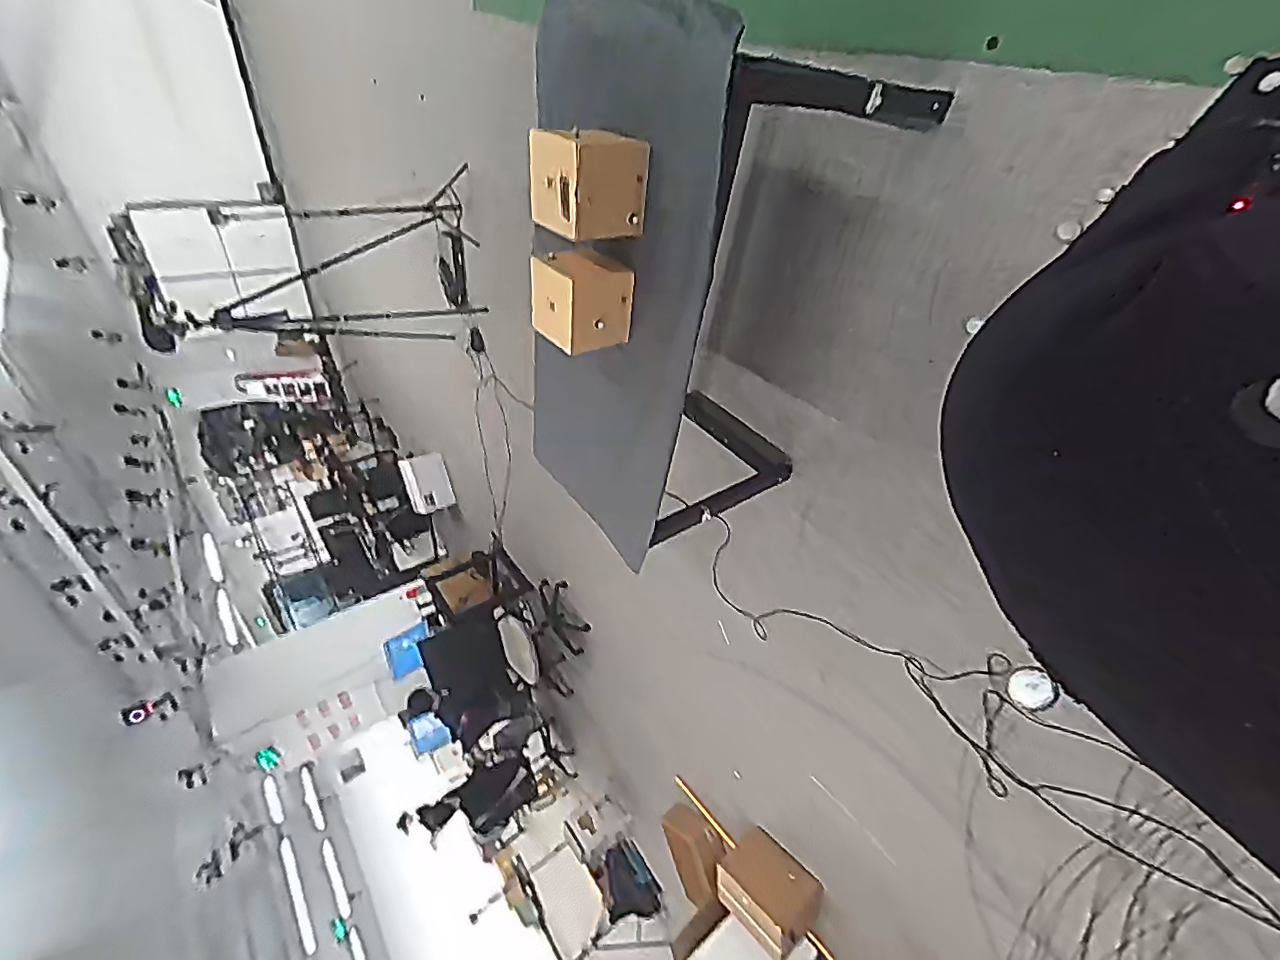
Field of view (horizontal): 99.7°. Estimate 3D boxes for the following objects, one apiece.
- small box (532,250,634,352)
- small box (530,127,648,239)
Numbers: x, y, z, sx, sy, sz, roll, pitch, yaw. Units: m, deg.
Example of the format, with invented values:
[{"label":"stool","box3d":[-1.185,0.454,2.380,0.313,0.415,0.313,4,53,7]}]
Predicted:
[{"label":"small box","box3d":[-0.129,-0.415,1.235,0.179,0.176,0.168,42,139,36]},{"label":"small box","box3d":[-0.102,-0.598,1.081,0.179,0.176,0.168,42,139,37]}]
